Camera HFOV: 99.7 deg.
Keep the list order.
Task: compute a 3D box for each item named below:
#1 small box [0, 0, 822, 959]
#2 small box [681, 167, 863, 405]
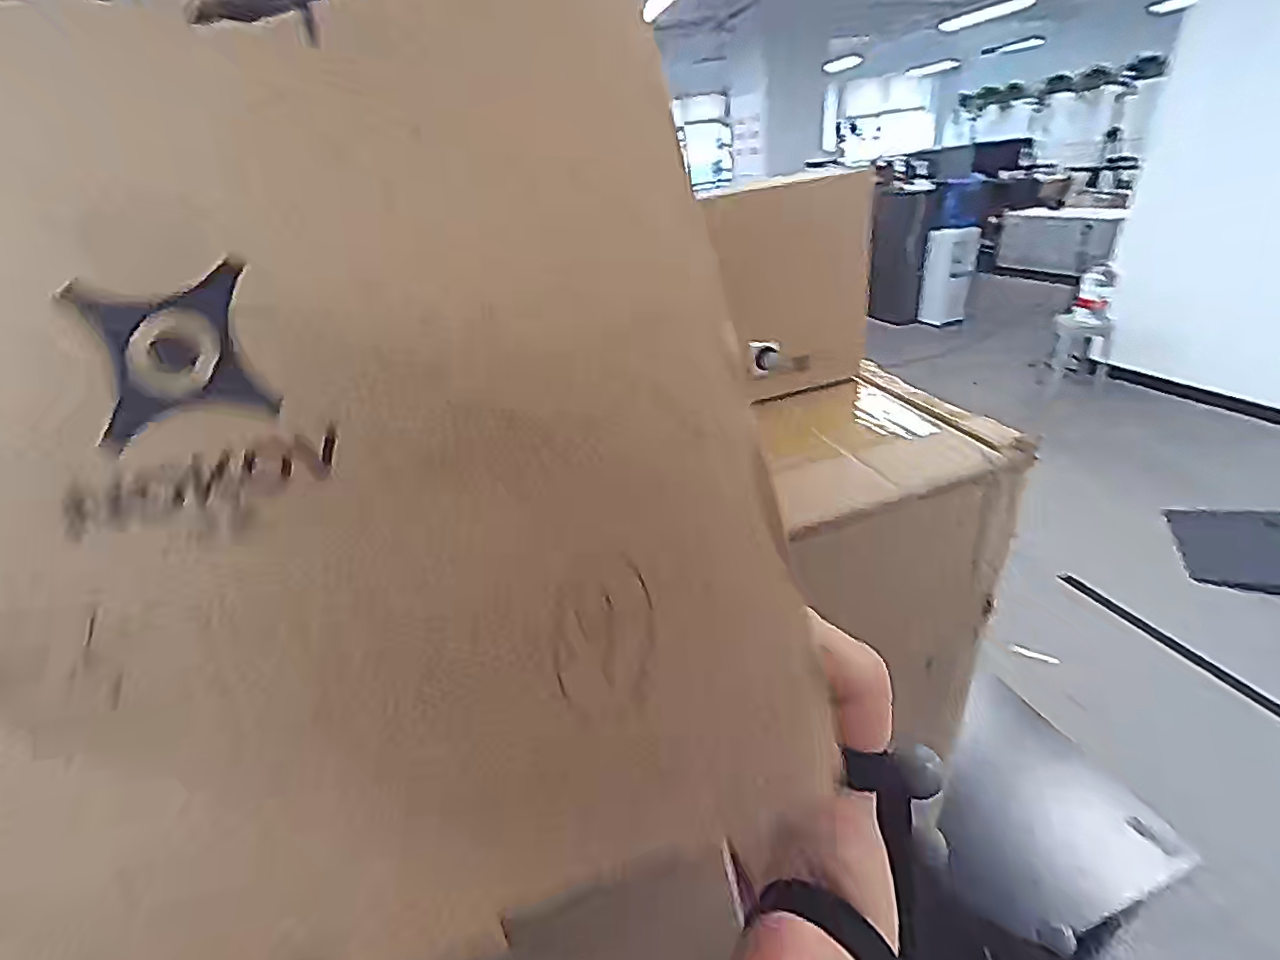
[{"bbox_3d":[-0.078,-0.005,0.155,0.168,0.179,0.176,-15,4,-9],"label":"small box"},{"bbox_3d":[0.083,-0.180,0.507,0.168,0.176,0.179,-16,30,-9],"label":"small box"}]
